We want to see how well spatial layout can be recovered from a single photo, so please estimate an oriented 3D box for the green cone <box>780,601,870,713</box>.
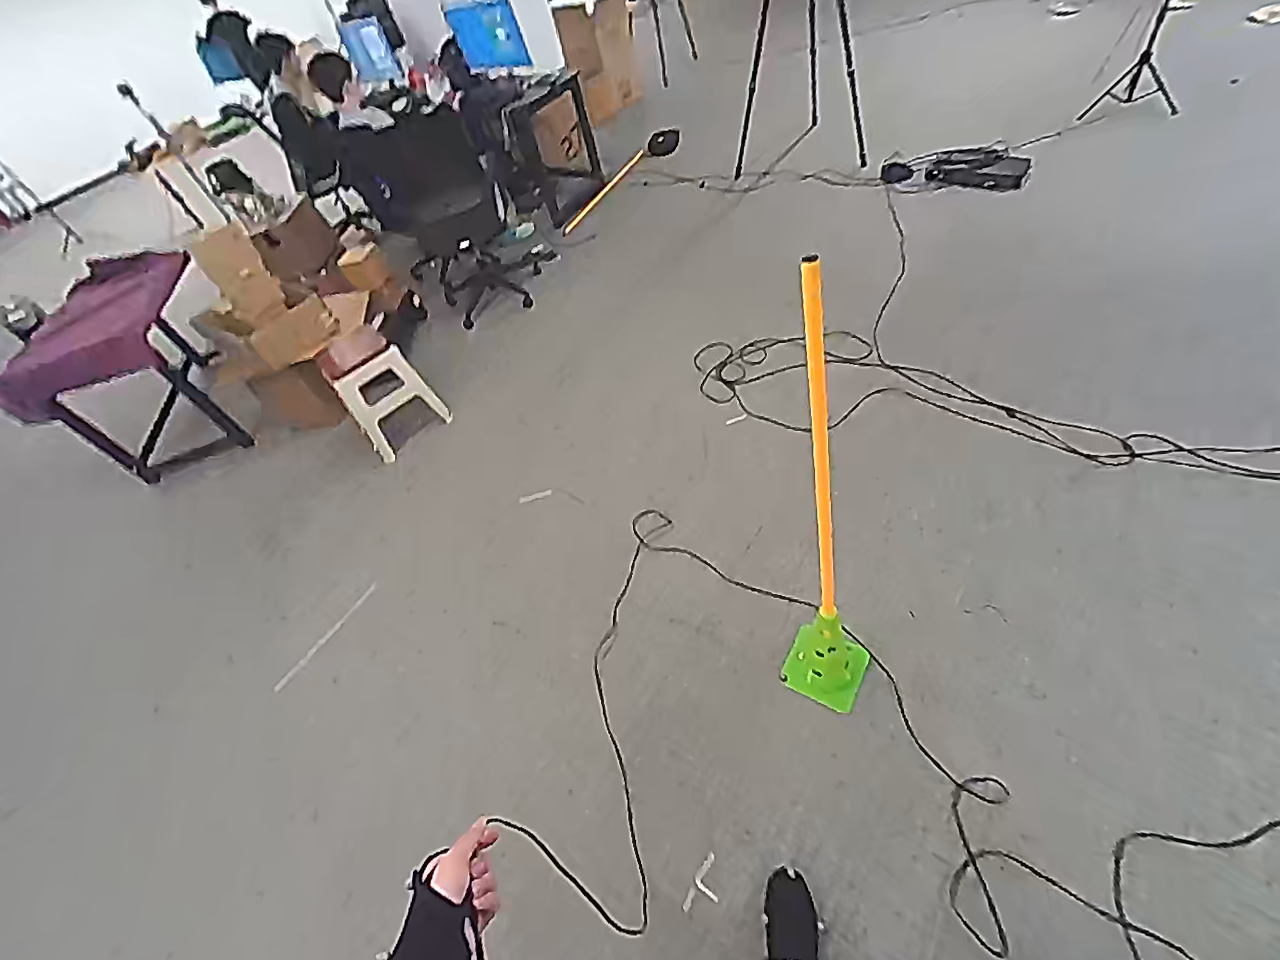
[{"bbox_3d":[0.486,0.419,1.399,0.200,0.368,0.202,19,57,29],"label":"green cone"}]
